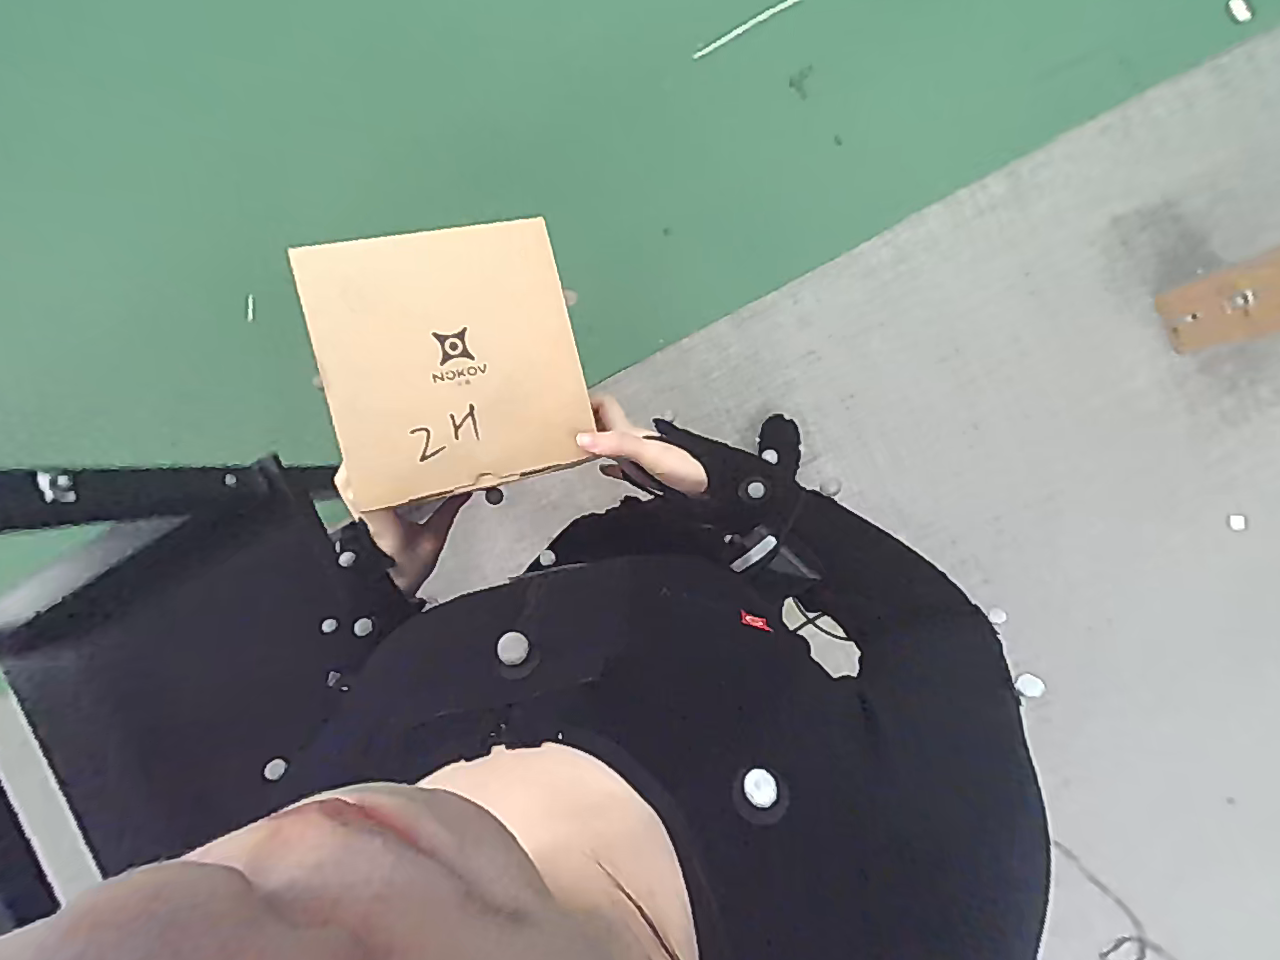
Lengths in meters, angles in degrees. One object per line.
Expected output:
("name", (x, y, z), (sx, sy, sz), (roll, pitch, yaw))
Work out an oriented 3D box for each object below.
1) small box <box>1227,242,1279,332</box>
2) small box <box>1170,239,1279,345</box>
("small box", (1.356, -0.418, 1.070), (0.179, 0.176, 0.168), (-26, 88, 8))
("small box", (1.375, -0.427, 1.231), (0.179, 0.176, 0.168), (-22, 90, 8))
